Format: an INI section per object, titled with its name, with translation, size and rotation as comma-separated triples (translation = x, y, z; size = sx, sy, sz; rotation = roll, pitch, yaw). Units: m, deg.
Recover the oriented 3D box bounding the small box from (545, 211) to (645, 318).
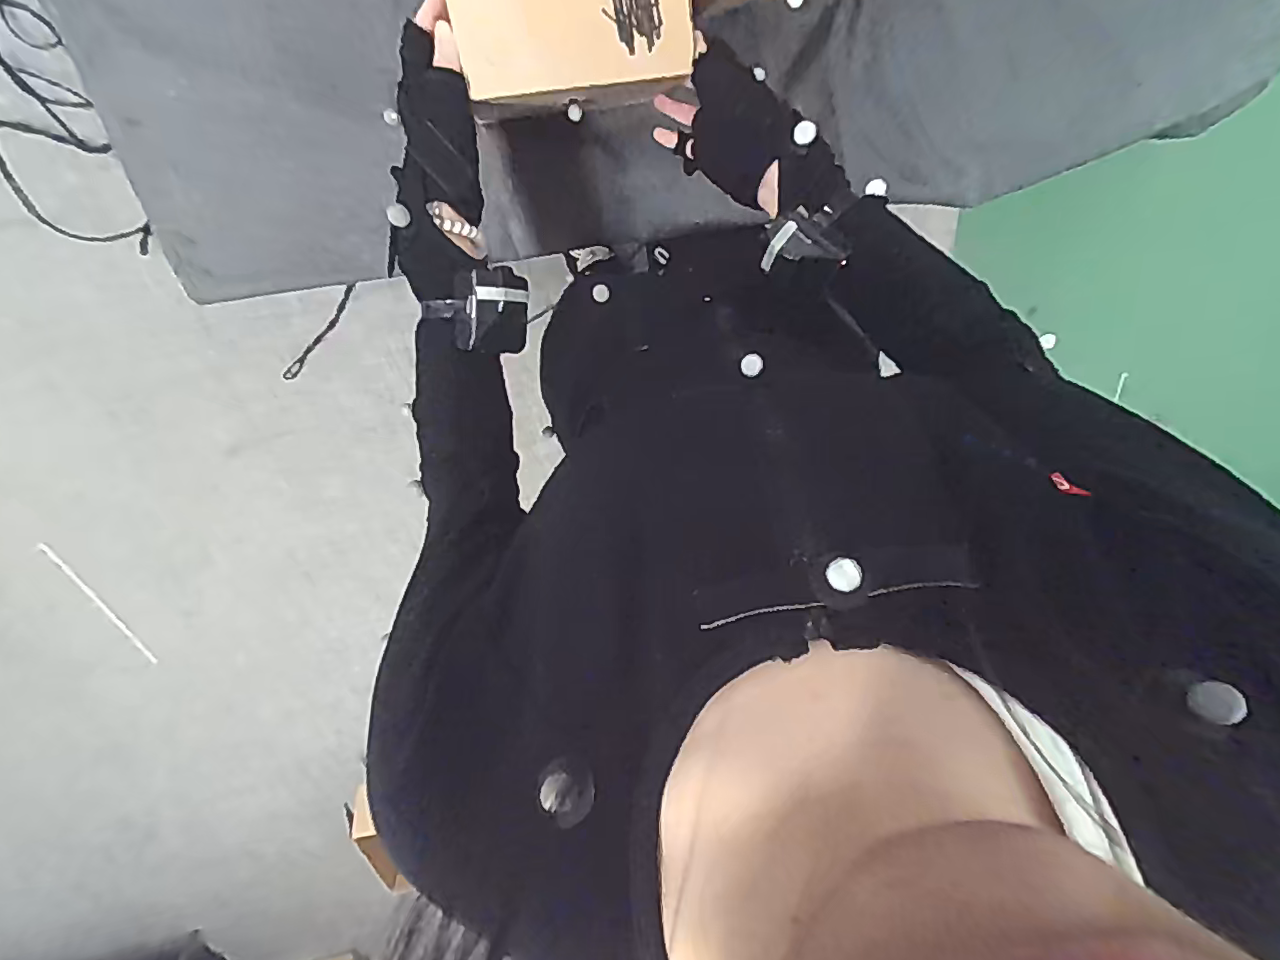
[small box]
translation = -0.106, -0.497, 1.243
size = 0.179, 0.176, 0.168
rotation = 22, 124, -2
